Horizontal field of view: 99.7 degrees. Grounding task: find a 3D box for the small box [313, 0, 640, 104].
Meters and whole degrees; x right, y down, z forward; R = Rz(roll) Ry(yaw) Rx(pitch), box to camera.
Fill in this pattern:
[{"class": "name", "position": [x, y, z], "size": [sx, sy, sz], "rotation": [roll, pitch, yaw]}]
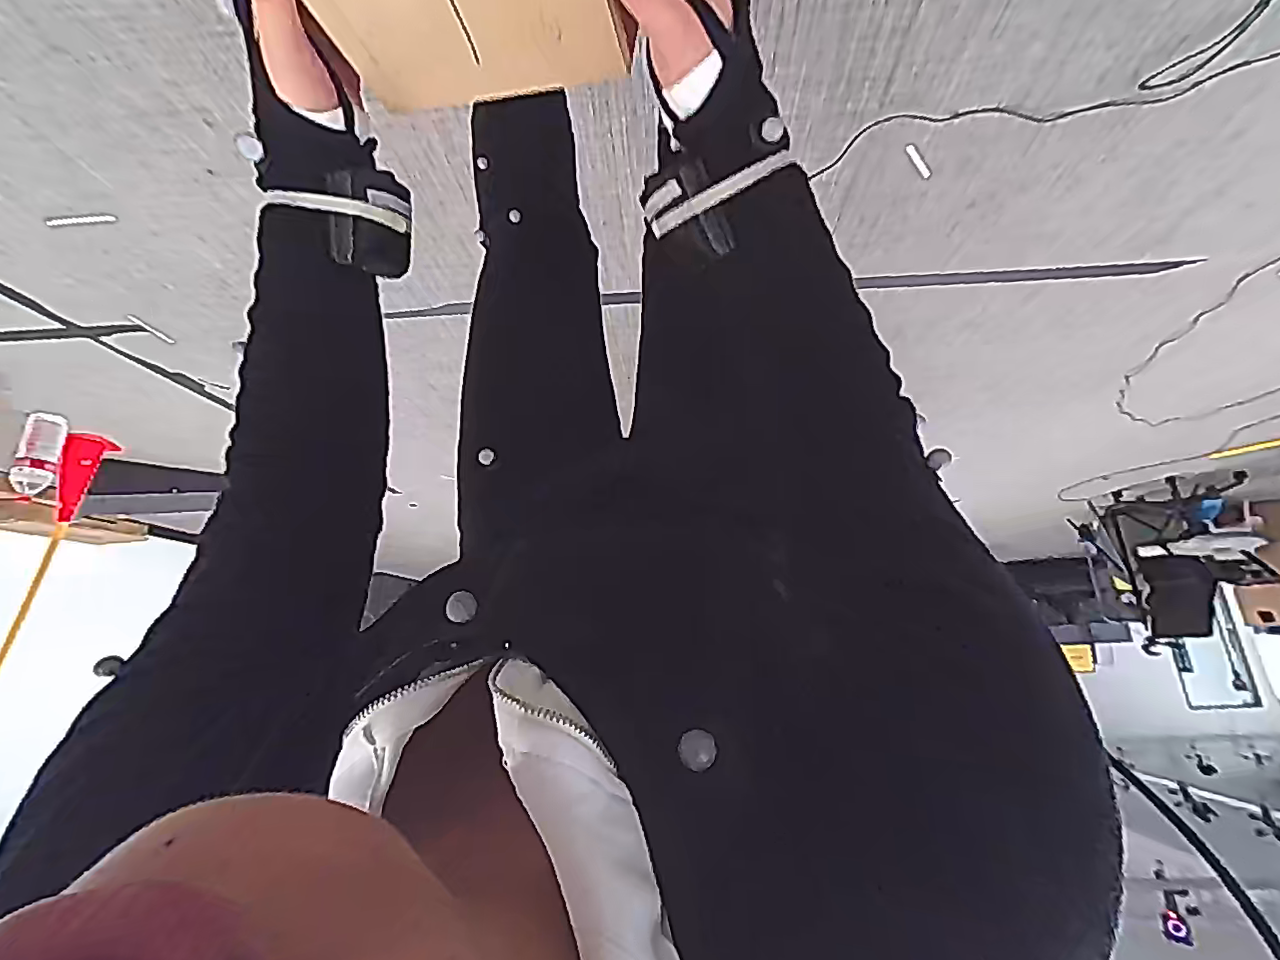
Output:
[{"class": "small box", "position": [-0.095, -0.342, 0.271], "size": [0.168, 0.176, 0.179], "rotation": [3, 165, 17]}]
